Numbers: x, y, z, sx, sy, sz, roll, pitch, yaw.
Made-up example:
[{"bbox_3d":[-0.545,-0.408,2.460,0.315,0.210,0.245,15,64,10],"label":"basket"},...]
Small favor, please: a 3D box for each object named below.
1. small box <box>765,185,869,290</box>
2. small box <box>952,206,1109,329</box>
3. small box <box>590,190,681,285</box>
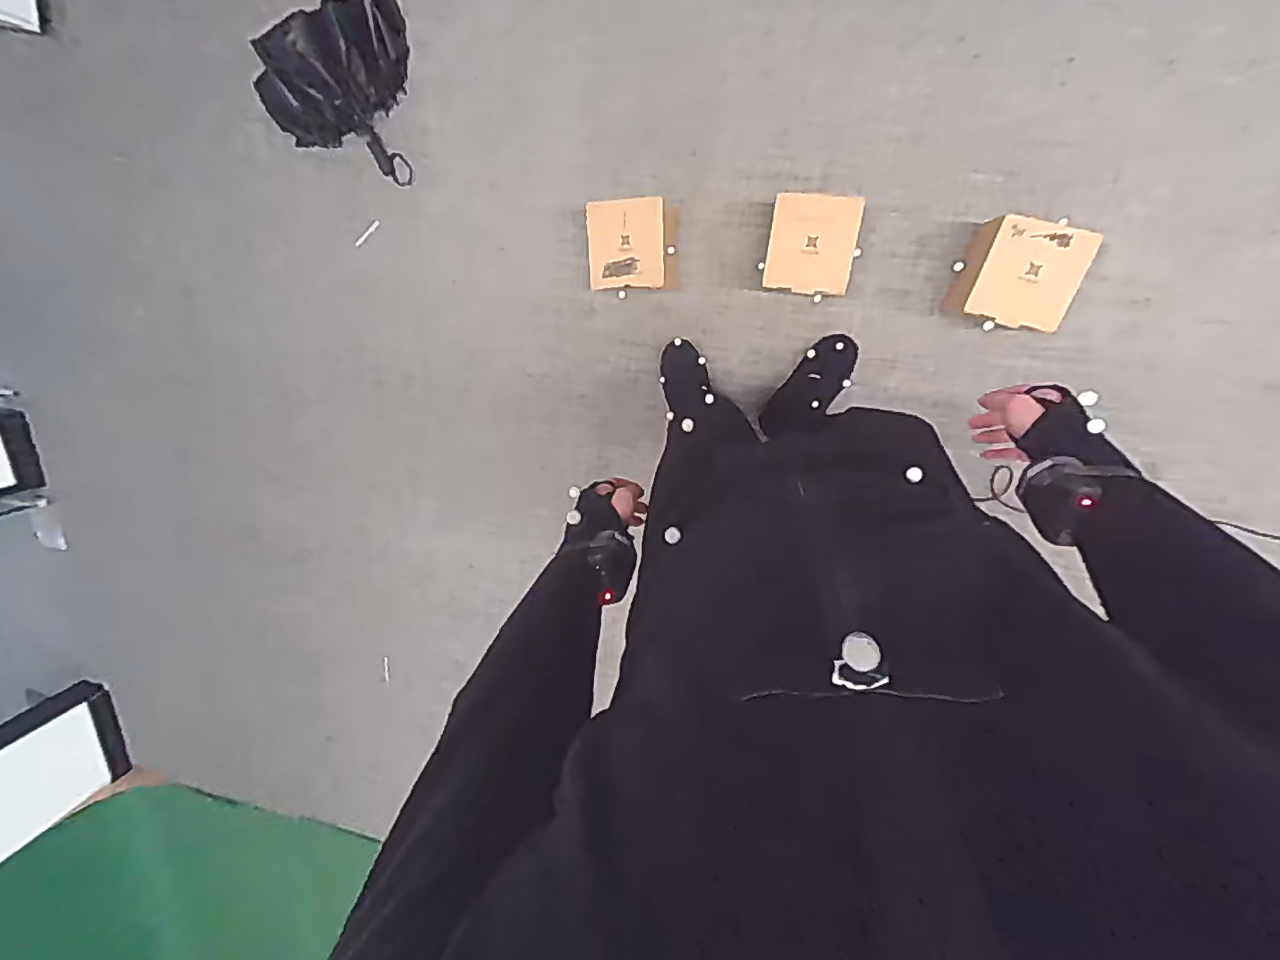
[{"bbox_3d":[0.357,-0.492,1.115,0.168,0.176,0.179,9,109,11],"label":"small box"},{"bbox_3d":[0.730,-0.405,1.041,0.168,0.176,0.179,19,113,9],"label":"small box"},{"bbox_3d":[-0.003,-0.527,1.198,0.168,0.176,0.179,3,108,14],"label":"small box"}]
